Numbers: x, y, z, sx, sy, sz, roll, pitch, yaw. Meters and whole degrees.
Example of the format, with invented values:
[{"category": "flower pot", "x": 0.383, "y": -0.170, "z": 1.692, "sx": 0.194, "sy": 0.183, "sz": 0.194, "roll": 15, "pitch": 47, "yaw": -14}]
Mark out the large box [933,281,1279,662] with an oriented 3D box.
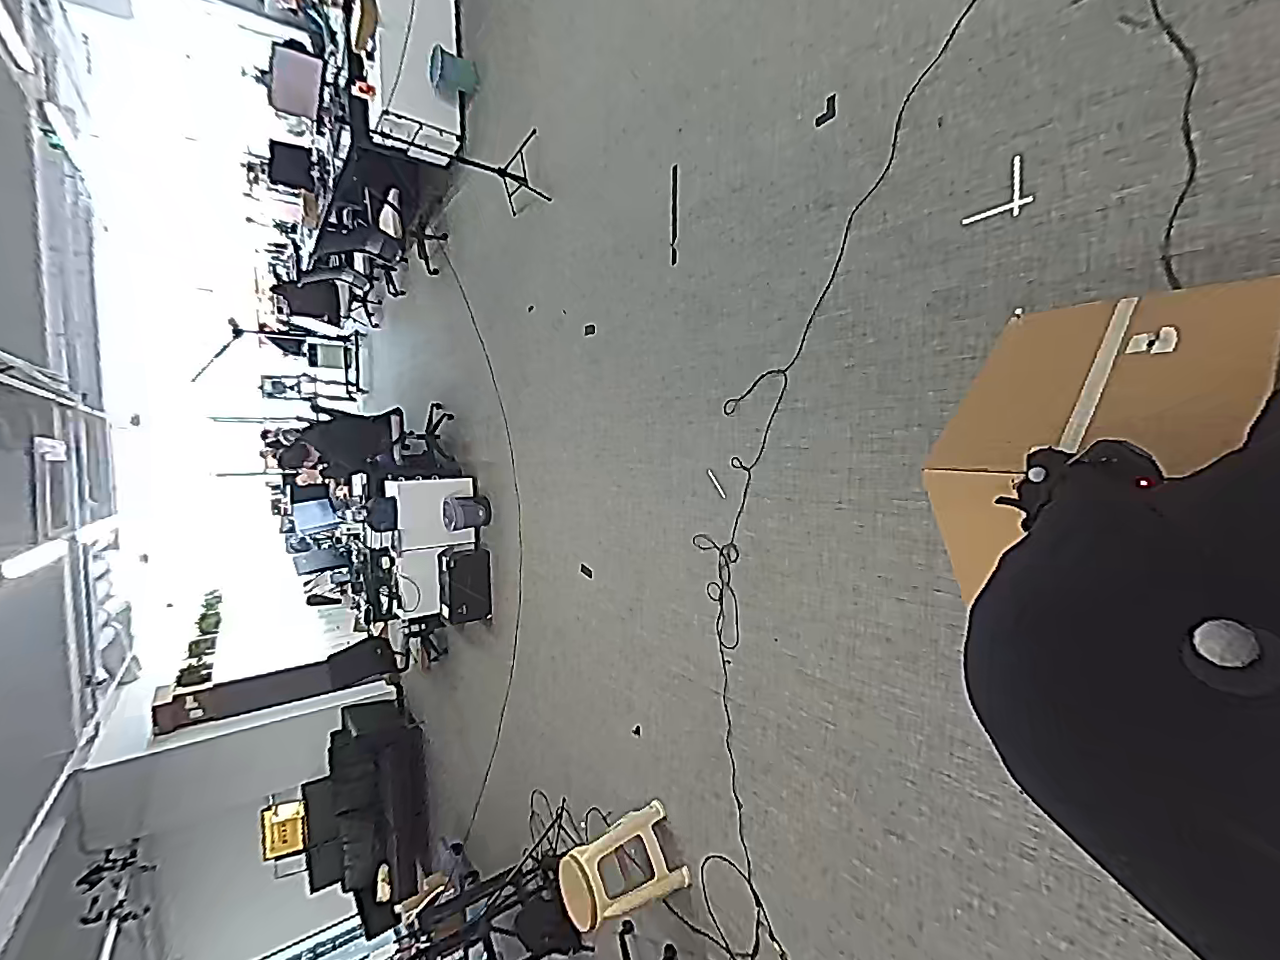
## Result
[{"category": "large box", "x": 0.689, "y": -0.022, "z": 0.785, "sx": 0.320, "sy": 0.408, "sz": 0.320, "roll": 7, "pitch": 136, "yaw": 51}]
